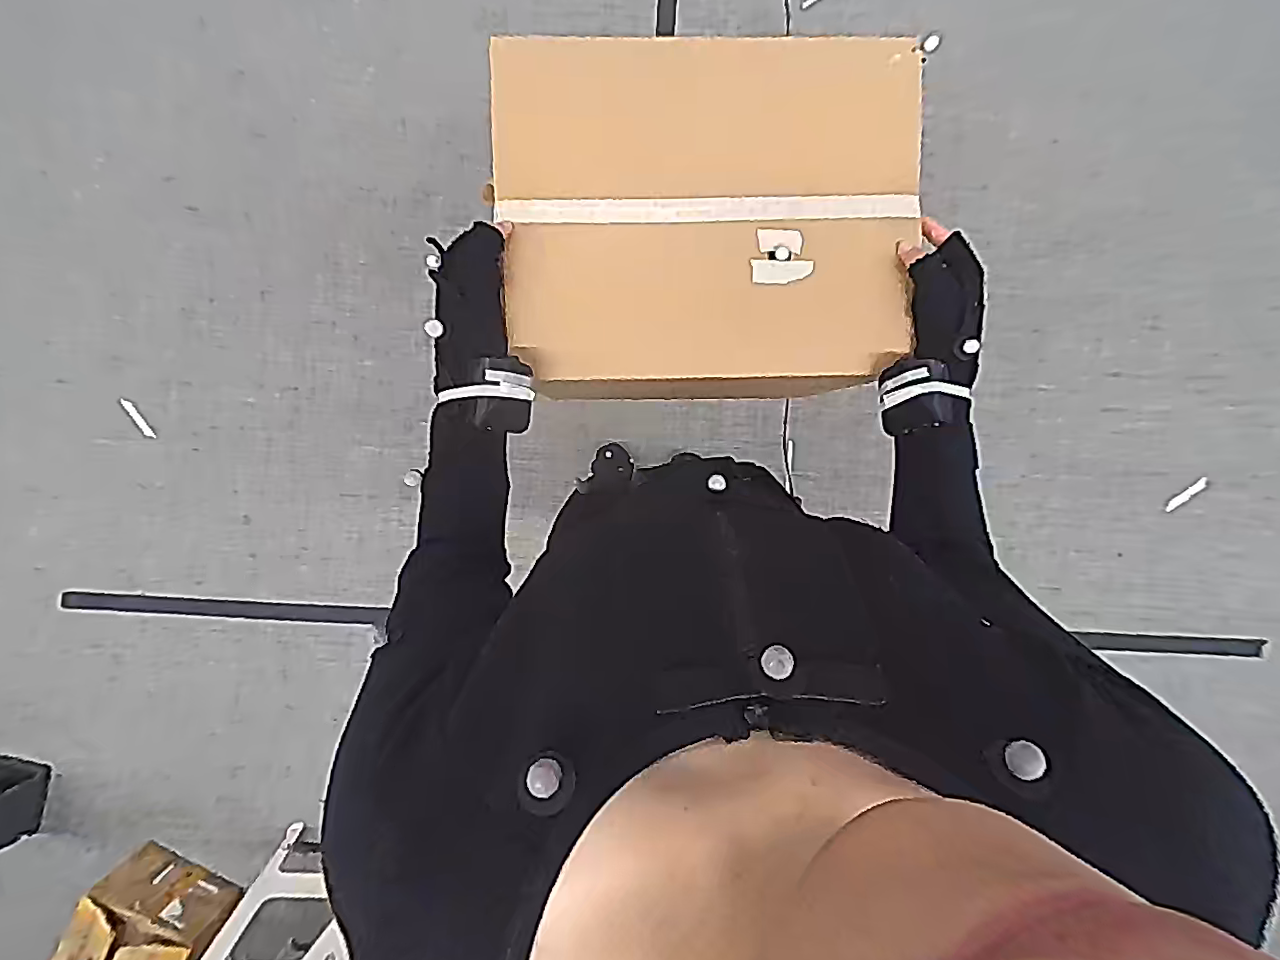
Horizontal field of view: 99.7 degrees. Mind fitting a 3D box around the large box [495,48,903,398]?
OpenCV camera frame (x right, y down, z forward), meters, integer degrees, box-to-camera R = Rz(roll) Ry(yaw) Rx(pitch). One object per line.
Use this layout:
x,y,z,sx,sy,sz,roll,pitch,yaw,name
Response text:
0.057,-0.276,0.683,0.408,0.320,0.320,-2,95,-2,large box
